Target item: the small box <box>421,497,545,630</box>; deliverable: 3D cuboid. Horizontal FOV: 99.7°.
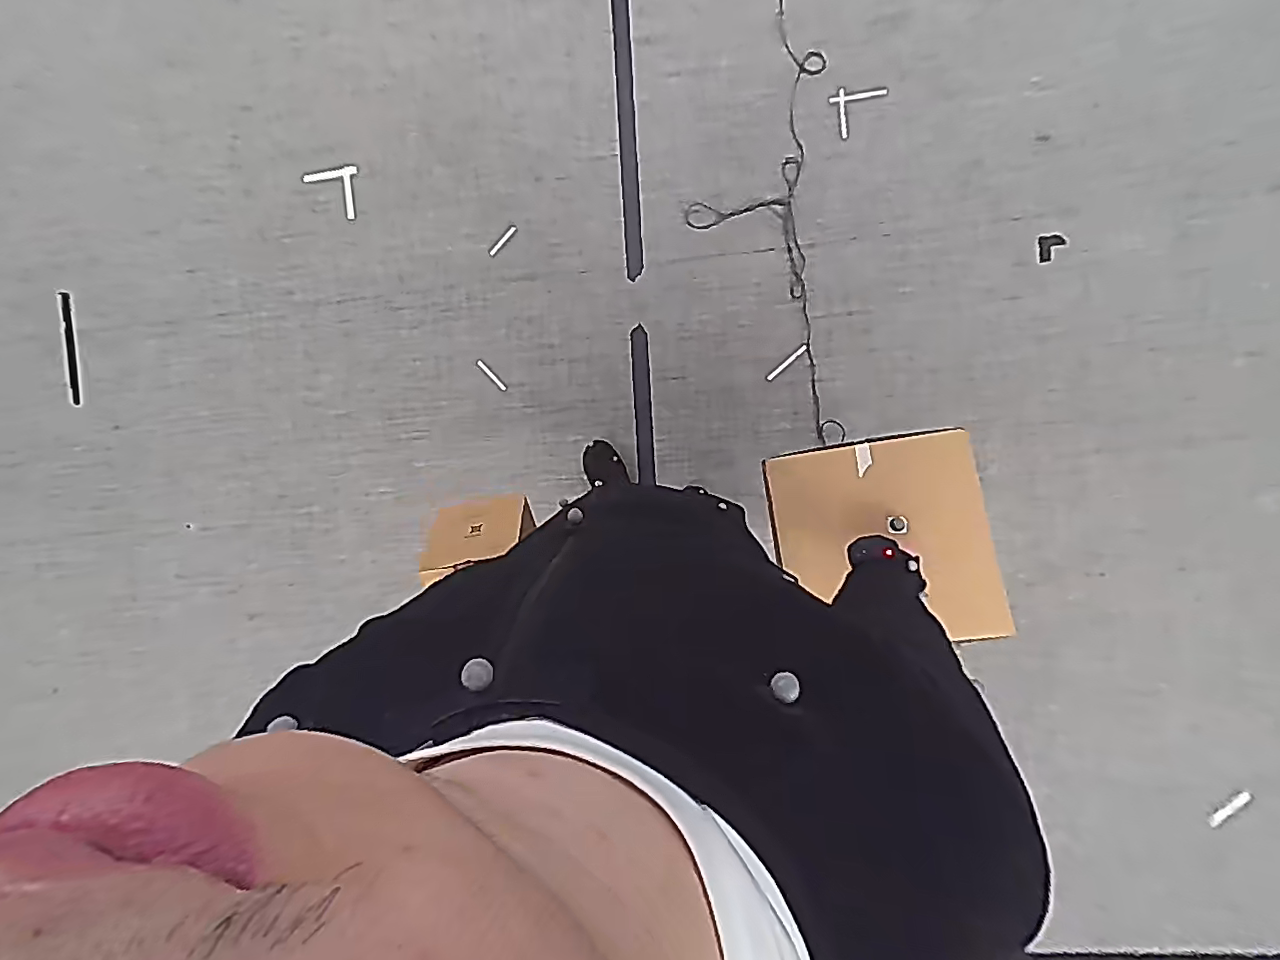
[{"bbox_3d":[-0.279,0.159,1.005,0.168,0.179,0.176,-11,121,0],"label":"small box"}]
